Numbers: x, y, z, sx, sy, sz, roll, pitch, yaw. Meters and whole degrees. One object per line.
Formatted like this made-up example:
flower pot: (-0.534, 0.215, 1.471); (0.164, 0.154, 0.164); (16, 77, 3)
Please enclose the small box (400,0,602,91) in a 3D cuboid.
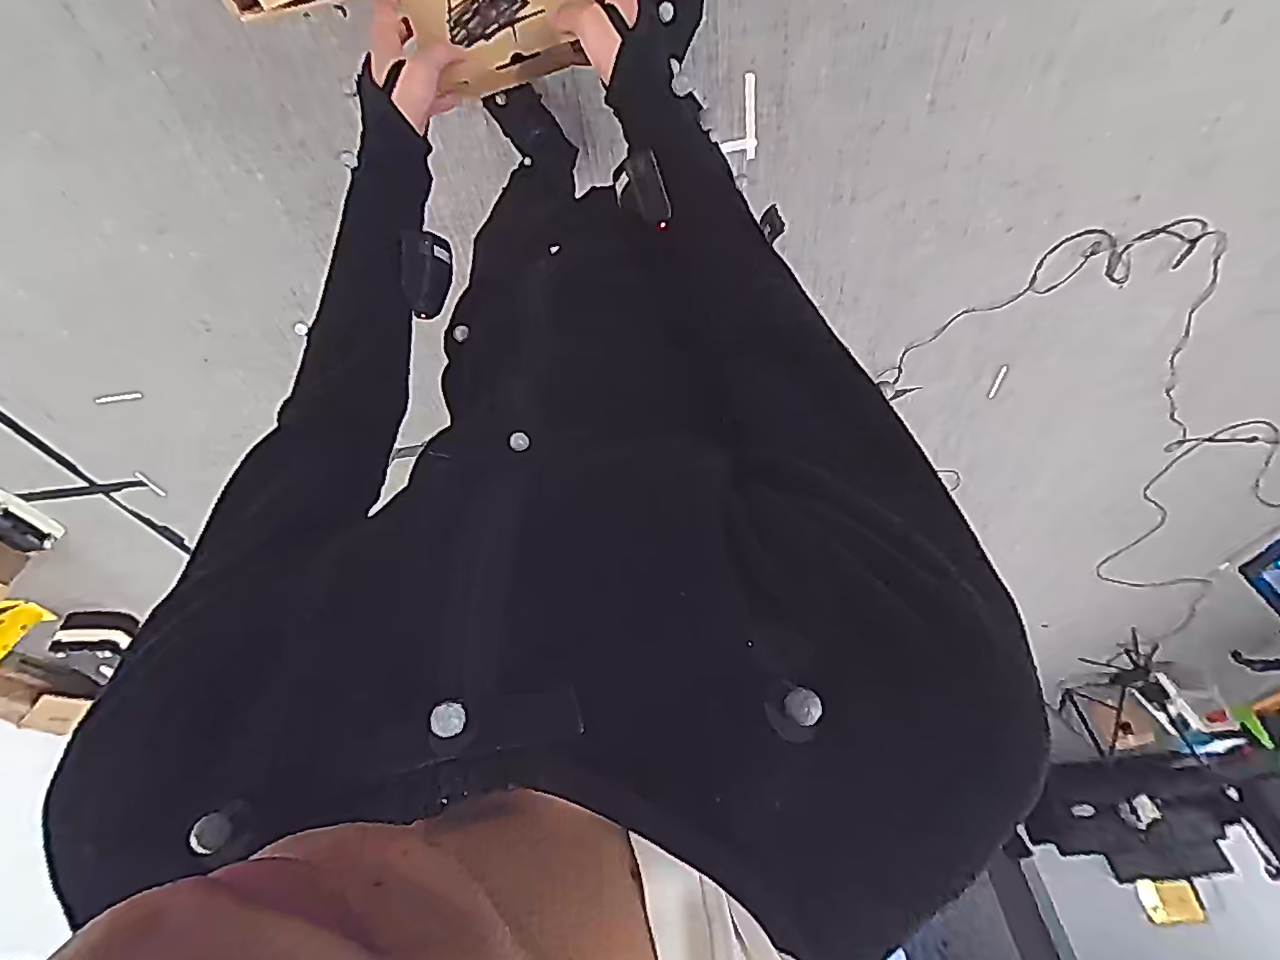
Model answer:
small box: (-0.139, -0.499, 0.517); (0.168, 0.176, 0.179); (-14, 122, 8)
